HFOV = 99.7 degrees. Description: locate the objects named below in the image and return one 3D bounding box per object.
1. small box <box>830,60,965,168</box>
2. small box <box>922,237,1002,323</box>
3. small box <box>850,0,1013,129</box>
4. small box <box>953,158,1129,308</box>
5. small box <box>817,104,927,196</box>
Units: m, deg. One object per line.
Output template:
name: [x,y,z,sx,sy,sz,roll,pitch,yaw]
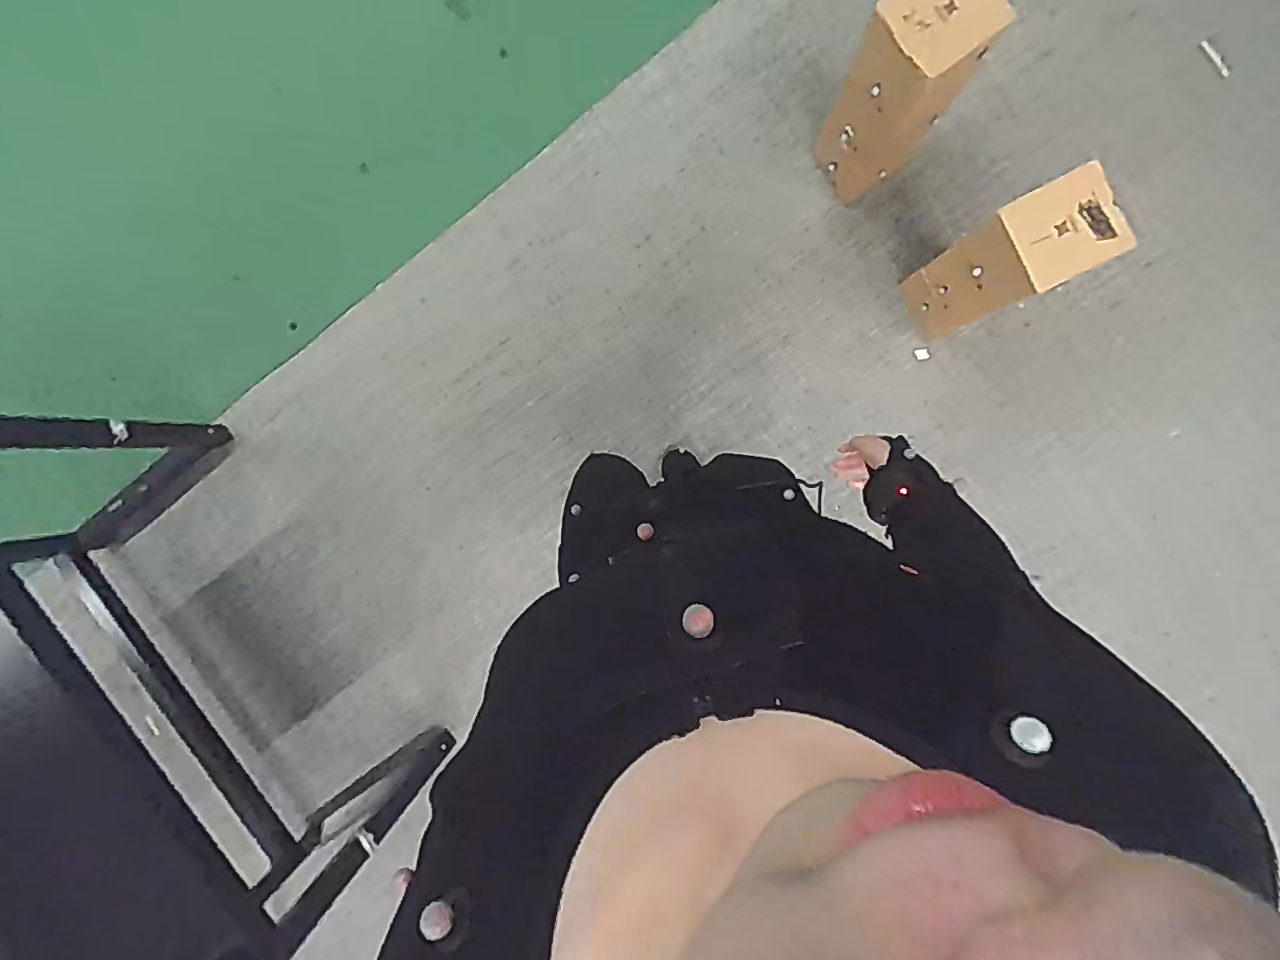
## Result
small box: [0.539,-0.823,1.161,0.179,0.176,0.168,-35,90,8]
small box: [0.755,-0.465,1.171,0.179,0.176,0.168,-28,92,7]
small box: [0.522,-0.807,0.997,0.179,0.176,0.168,-35,90,7]
small box: [0.732,-0.447,1.009,0.179,0.176,0.168,-26,92,8]
small box: [0.553,-0.840,1.322,0.179,0.176,0.168,-31,91,7]
